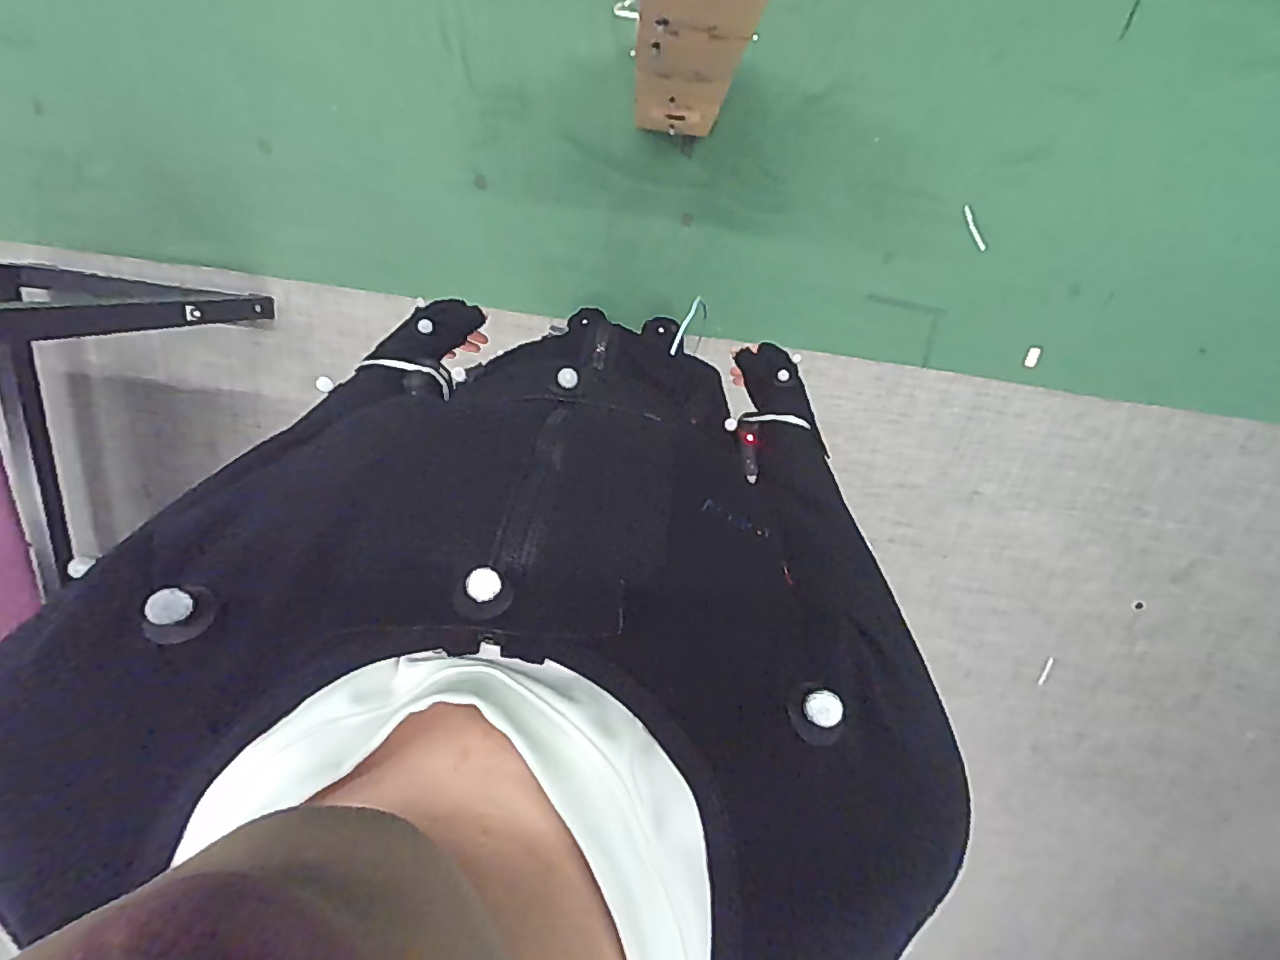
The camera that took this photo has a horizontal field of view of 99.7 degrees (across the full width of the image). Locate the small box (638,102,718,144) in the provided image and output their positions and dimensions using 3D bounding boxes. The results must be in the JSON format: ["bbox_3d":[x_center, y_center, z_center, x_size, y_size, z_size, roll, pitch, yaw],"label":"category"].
[{"bbox_3d":[0.086,-0.842,1.143,0.168,0.176,0.179,6,108,-2],"label":"small box"}]

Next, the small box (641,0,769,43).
[{"bbox_3d":[0.089,-0.687,0.676,0.168,0.176,0.179,3,108,-2],"label":"small box"}]

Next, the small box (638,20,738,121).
[{"bbox_3d":[0.085,-0.790,0.989,0.168,0.176,0.179,4,110,-2],"label":"small box"}]
